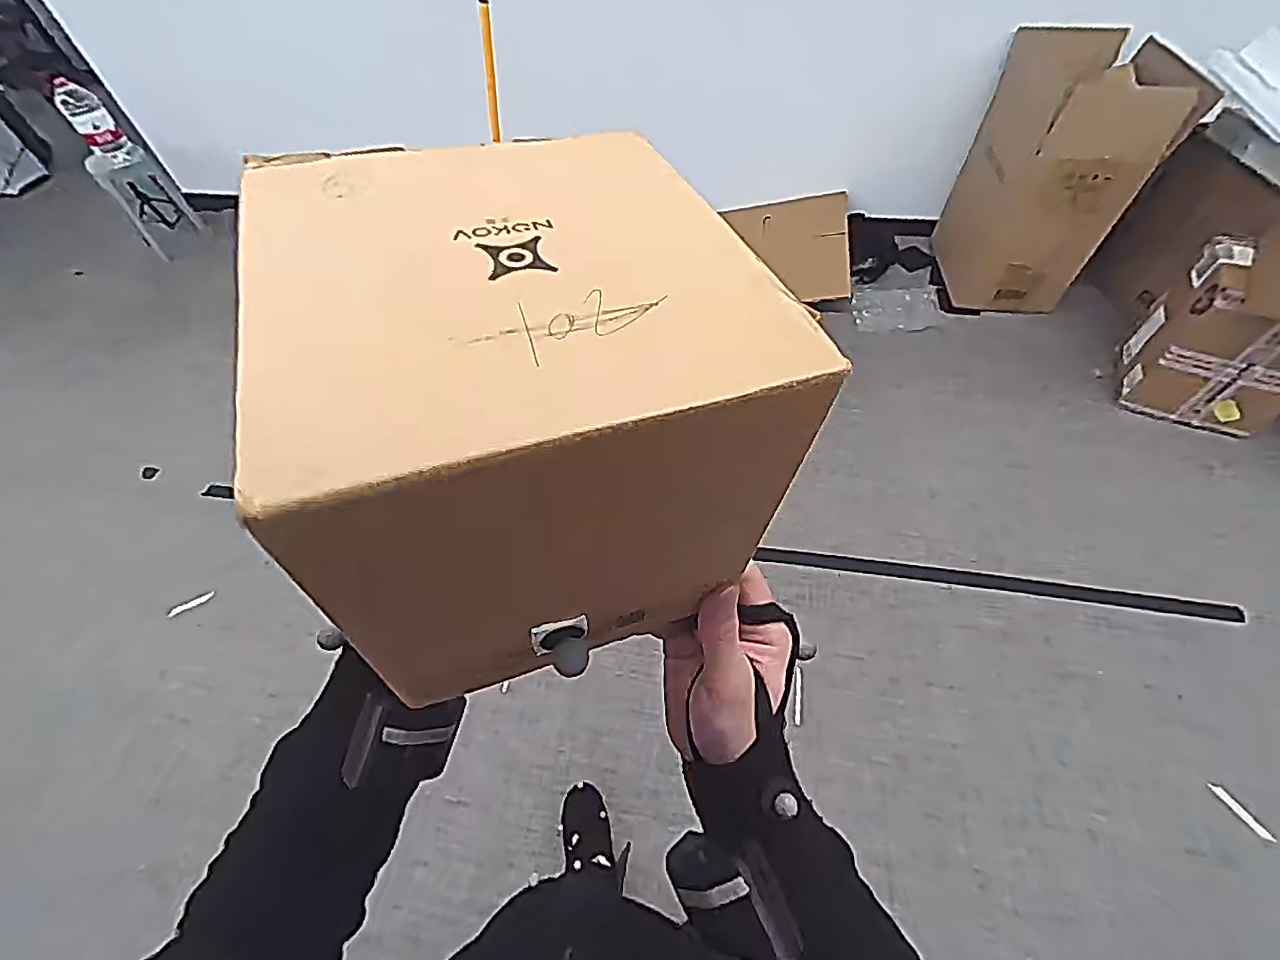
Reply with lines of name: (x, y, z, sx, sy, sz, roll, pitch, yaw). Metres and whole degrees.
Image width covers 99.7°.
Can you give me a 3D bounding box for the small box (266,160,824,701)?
small box: (-0.052, -0.023, 0.263, 0.168, 0.176, 0.179, -17, 58, -17)
